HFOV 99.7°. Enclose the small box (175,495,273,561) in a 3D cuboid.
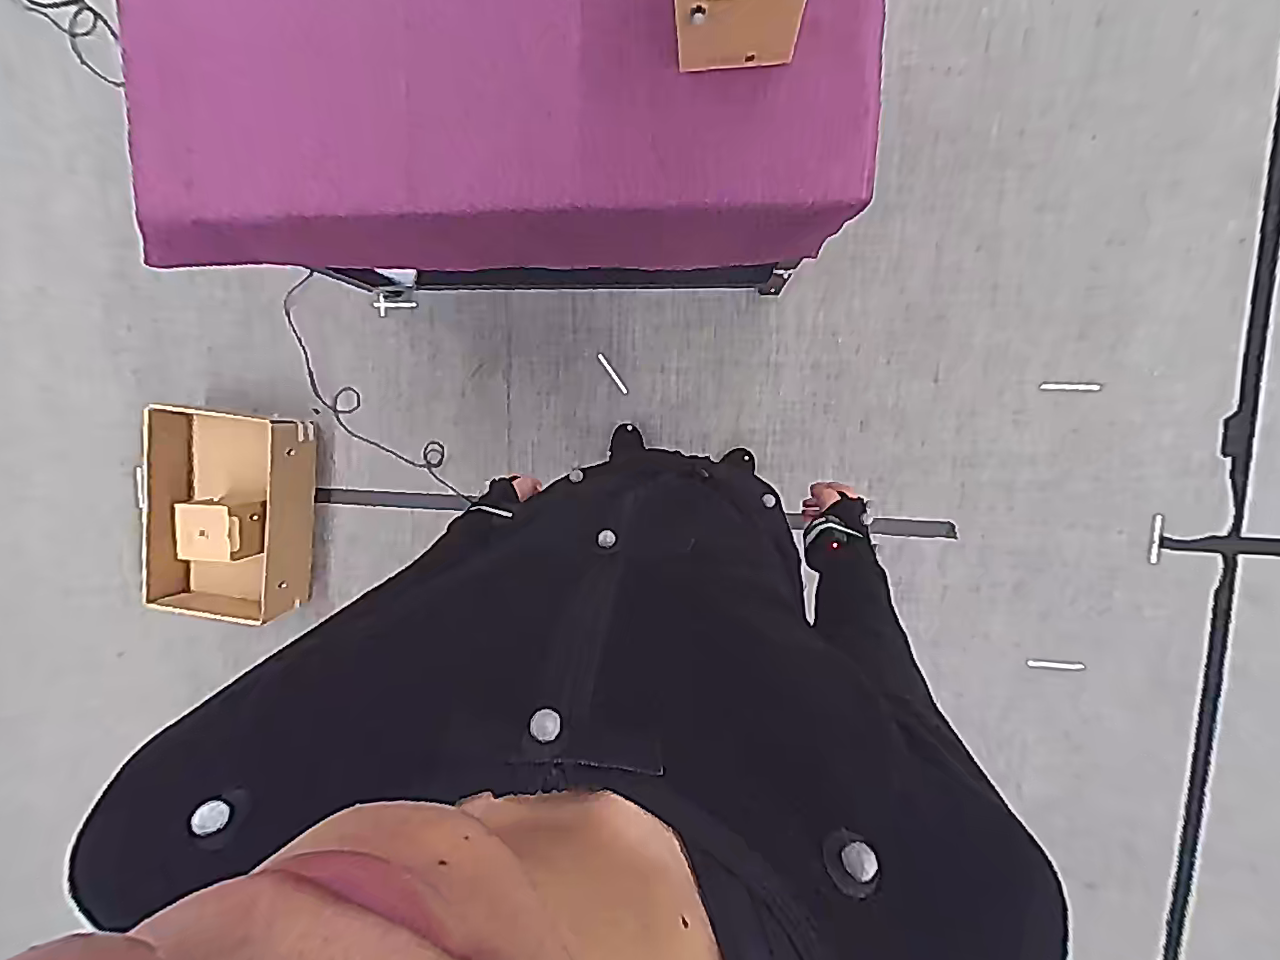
[{"bbox_3d":[-1.248,0.140,1.635,0.179,0.176,0.168,3,95,5],"label":"small box"}]
